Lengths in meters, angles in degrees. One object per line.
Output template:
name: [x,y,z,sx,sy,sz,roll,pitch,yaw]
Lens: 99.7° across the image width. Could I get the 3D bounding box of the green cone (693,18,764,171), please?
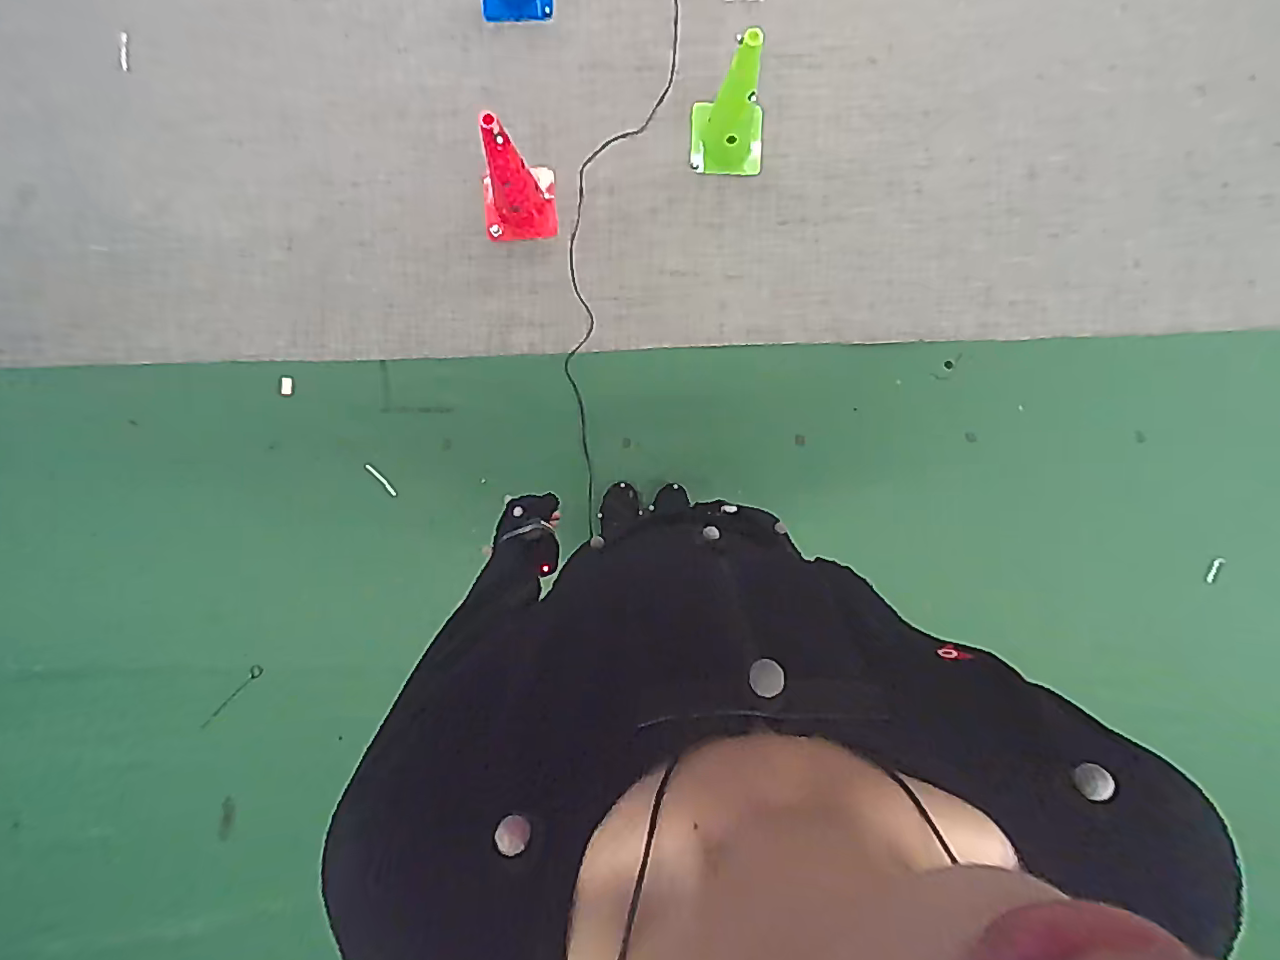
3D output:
green cone: [0.252,-0.975,1.353,0.200,0.368,0.202,0,89,-1]
